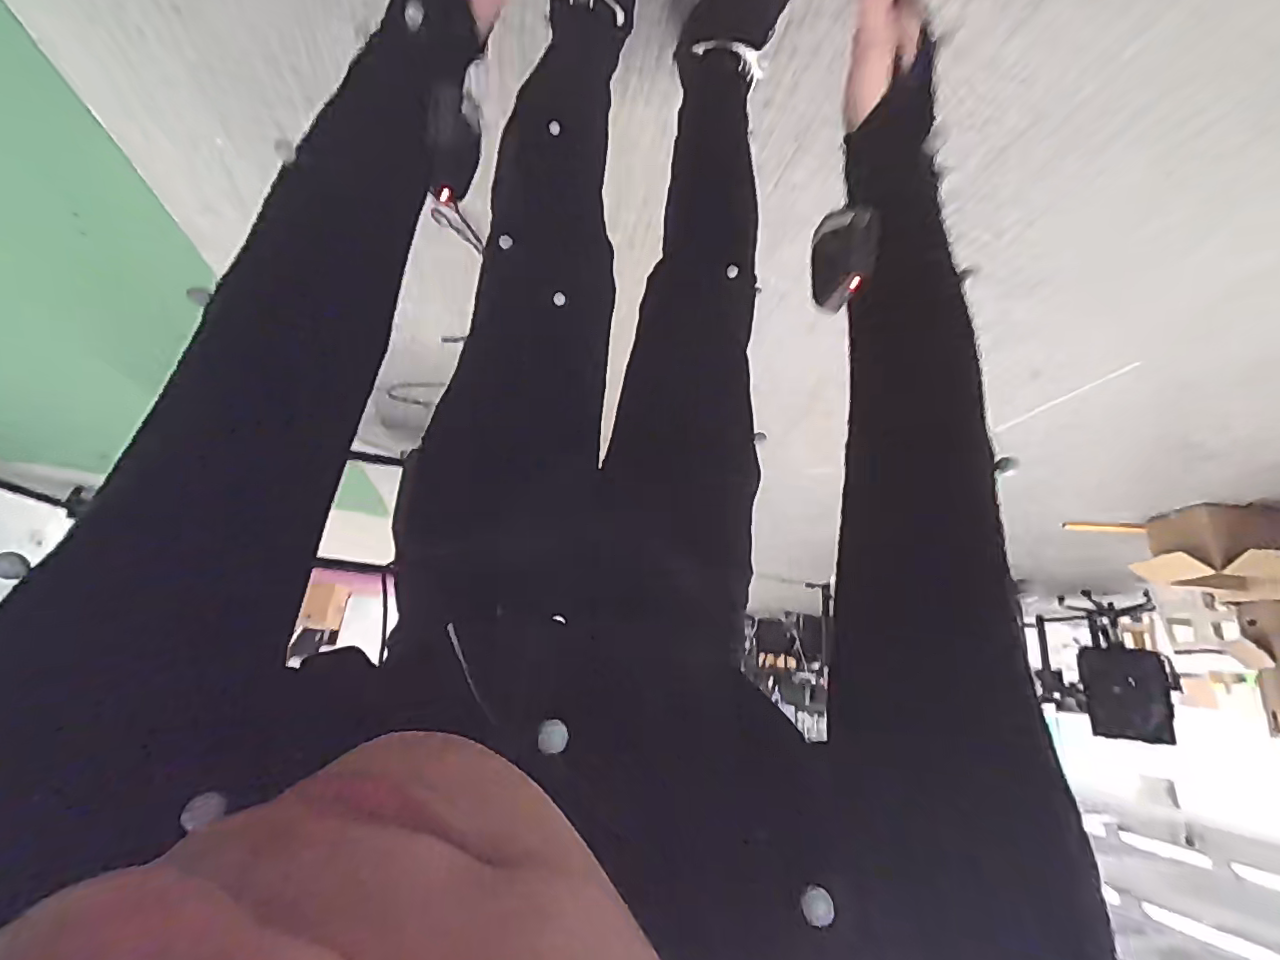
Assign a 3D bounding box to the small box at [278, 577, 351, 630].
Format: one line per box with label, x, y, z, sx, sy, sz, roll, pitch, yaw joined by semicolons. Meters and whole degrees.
small box;-1.205;0.461;2.017;0.168;0.176;0.179;8;162;-9
